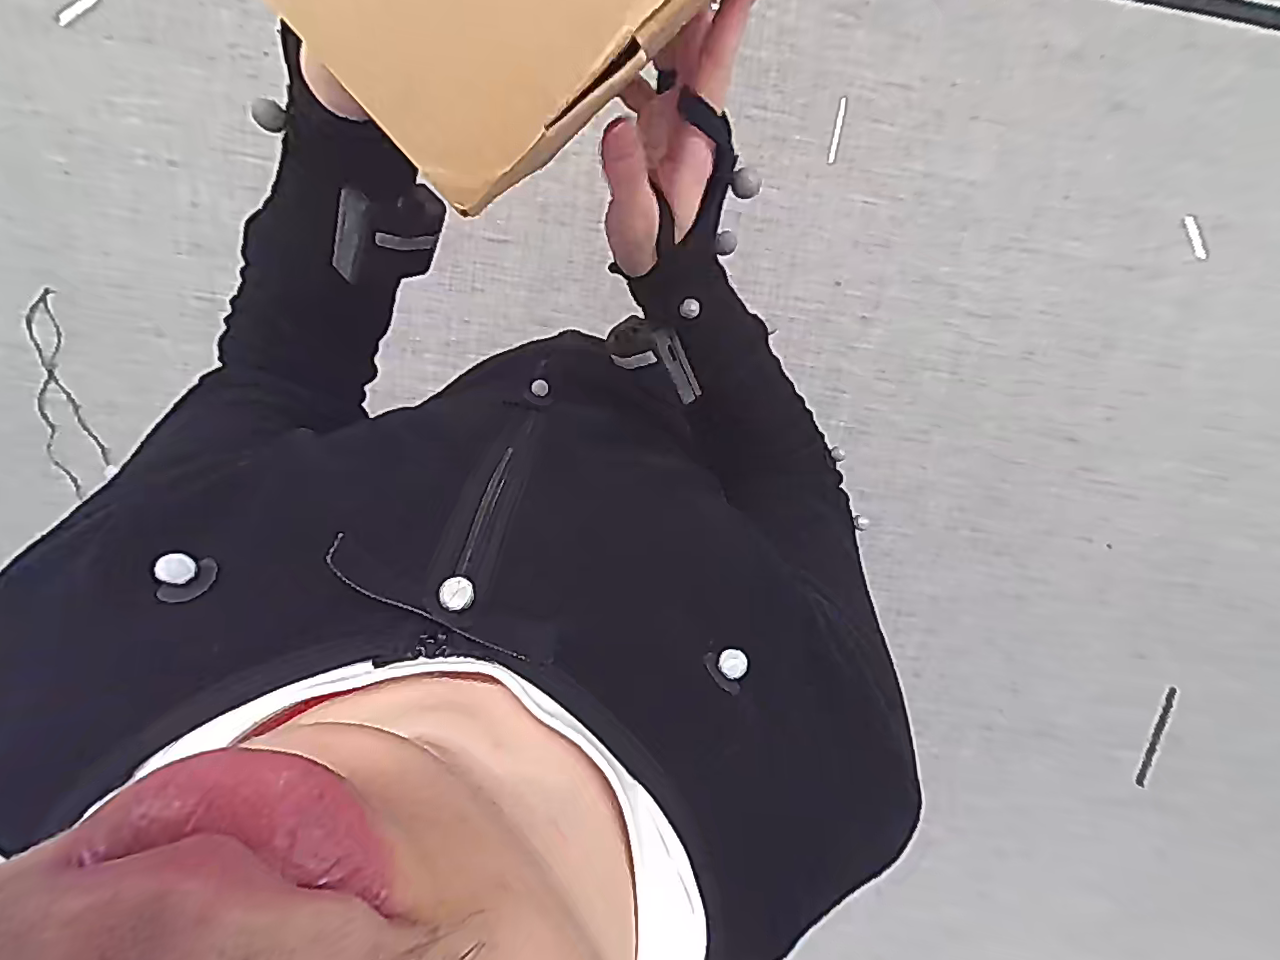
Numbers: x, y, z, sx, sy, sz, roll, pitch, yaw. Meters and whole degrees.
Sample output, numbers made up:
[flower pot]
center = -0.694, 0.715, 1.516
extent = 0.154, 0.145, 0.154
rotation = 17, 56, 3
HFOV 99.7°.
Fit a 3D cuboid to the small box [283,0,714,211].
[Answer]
[small box]
center = -0.040, -0.219, 0.159
extent = 0.168, 0.176, 0.179
rotation = -35, 118, 19
